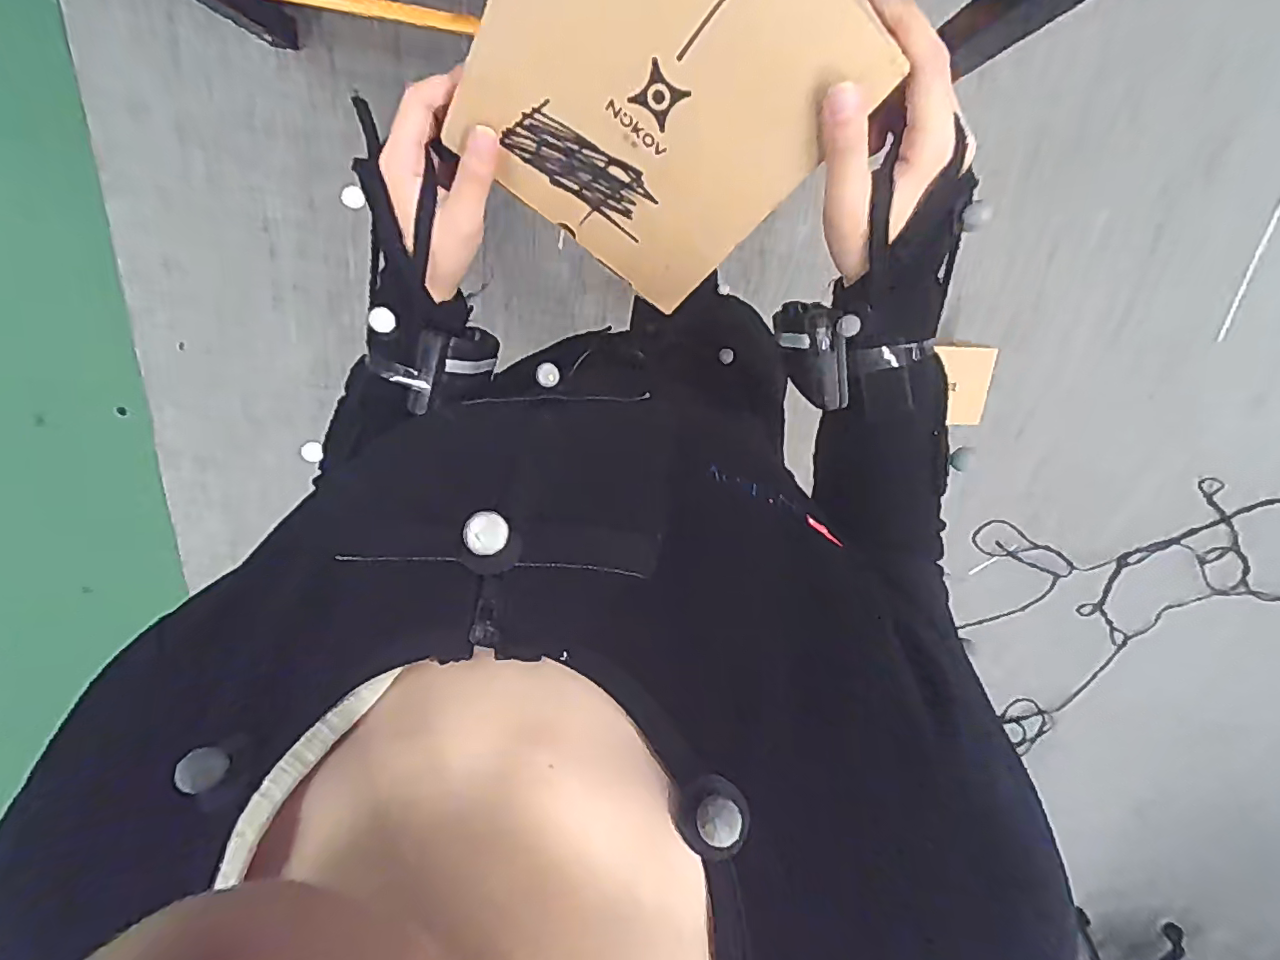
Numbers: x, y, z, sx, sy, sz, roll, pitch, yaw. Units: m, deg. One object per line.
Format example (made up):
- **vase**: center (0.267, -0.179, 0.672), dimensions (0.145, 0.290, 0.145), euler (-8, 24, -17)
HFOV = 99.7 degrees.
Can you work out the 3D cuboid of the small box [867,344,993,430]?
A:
- **small box**: center (0.638, -0.212, 1.212), dimensions (0.179, 0.176, 0.168), euler (1, 109, 0)
